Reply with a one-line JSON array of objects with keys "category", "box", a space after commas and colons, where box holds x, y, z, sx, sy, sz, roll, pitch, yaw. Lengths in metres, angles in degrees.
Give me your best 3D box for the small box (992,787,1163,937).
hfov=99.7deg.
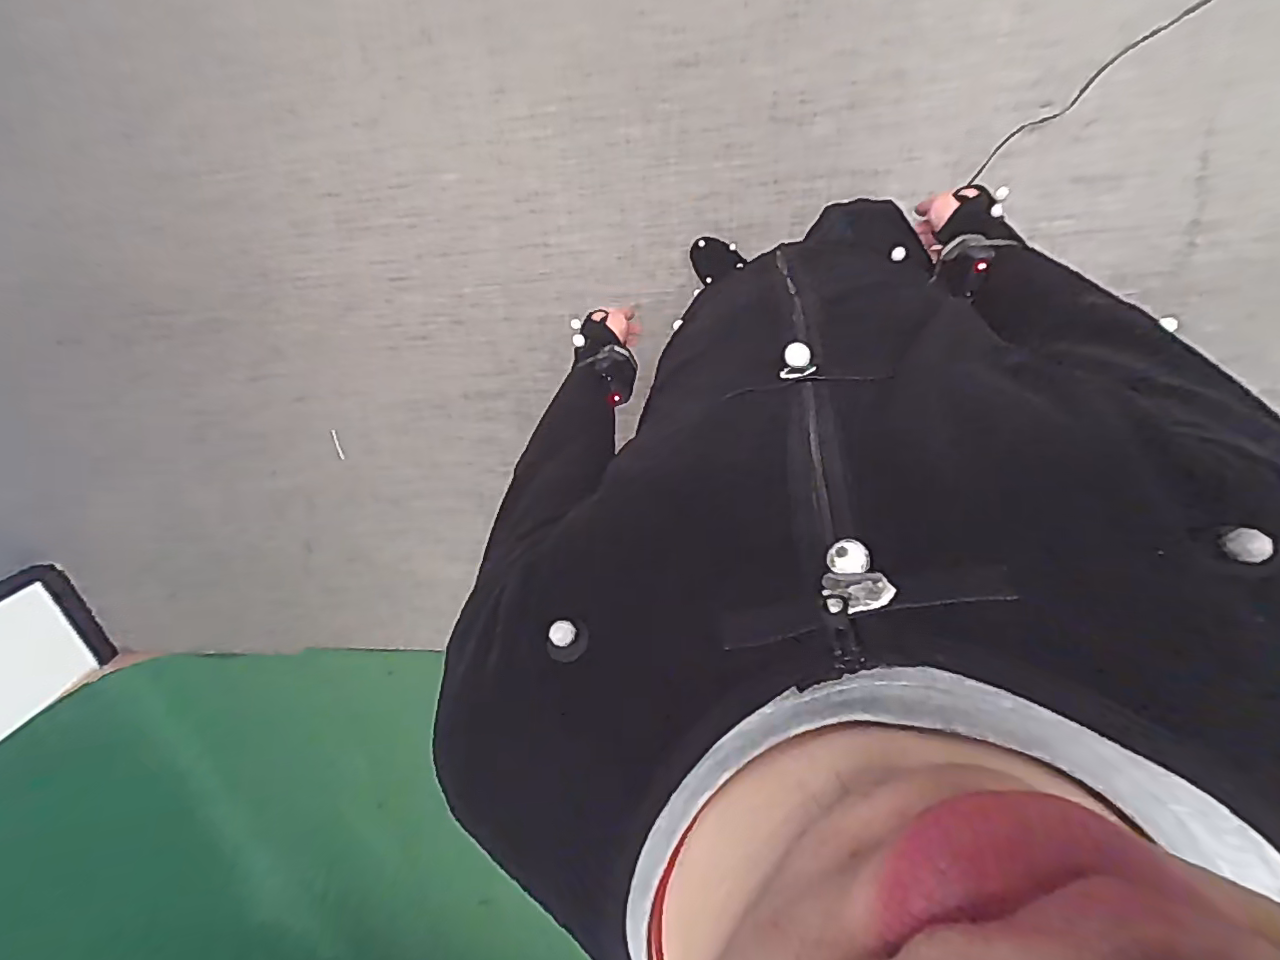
[{"category": "small box", "box": [0.799, 0.705, 1.010, 0.179, 0.176, 0.168, -2, 115, 11]}]
